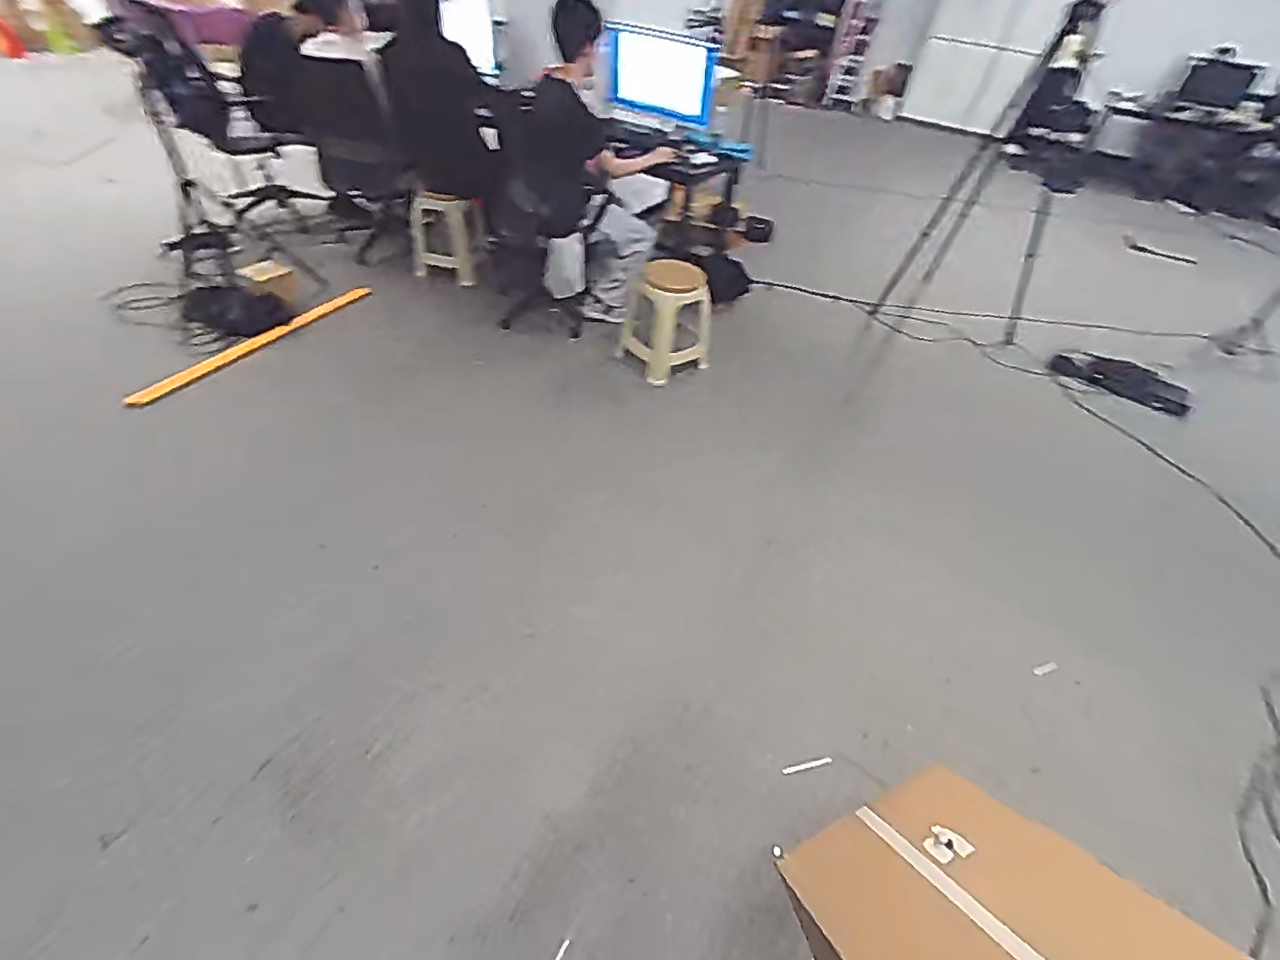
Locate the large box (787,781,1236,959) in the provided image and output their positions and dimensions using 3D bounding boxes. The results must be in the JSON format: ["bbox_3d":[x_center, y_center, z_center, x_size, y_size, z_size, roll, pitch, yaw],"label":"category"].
[{"bbox_3d":[0.452,0.666,0.653,0.320,0.408,0.320,-20,90,-12],"label":"large box"}]
